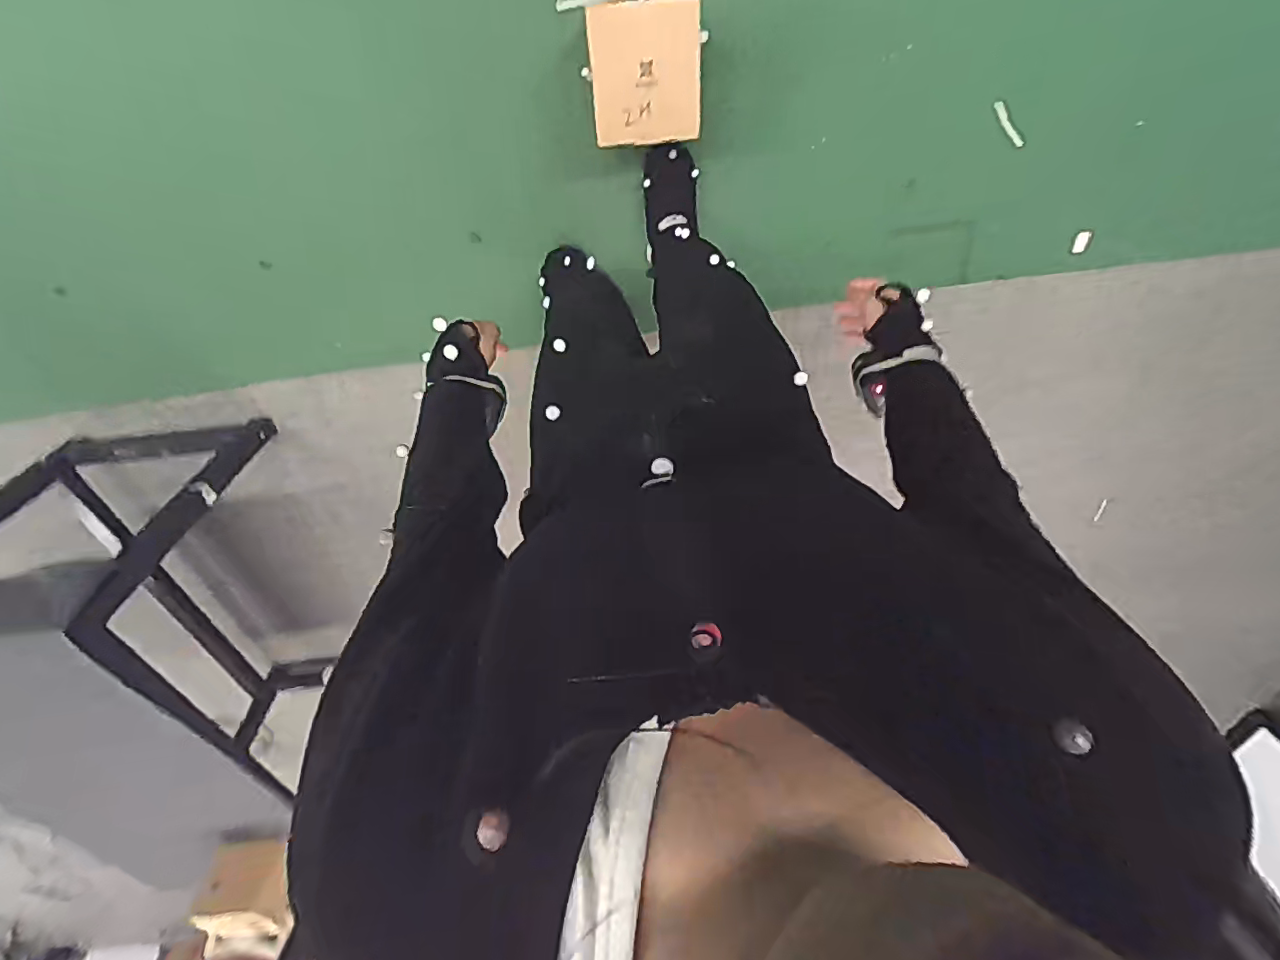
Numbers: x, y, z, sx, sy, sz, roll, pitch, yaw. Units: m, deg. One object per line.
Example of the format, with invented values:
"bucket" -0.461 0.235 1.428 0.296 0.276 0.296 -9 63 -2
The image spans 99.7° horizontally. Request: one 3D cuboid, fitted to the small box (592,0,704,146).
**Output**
"small box" 0.013 -0.661 0.885 0.168 0.176 0.179 -4 127 2
